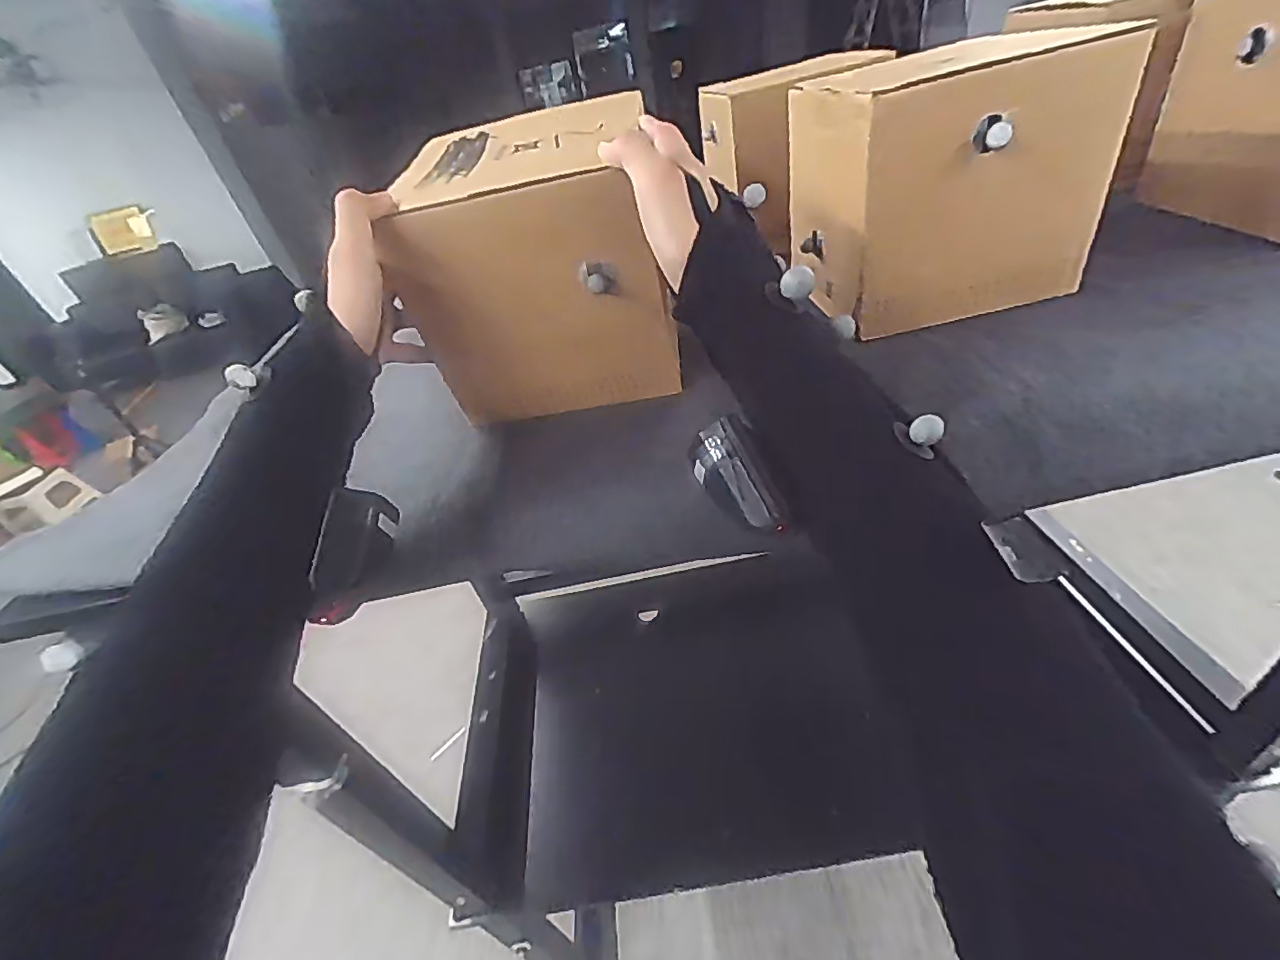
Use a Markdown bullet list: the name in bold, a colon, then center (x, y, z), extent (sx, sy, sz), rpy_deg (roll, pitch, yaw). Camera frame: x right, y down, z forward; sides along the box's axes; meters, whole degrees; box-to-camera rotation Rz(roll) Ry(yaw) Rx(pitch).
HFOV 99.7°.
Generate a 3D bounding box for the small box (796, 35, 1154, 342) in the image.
- **small box**: center (0.236, -0.234, 0.441), extent (0.179, 0.176, 0.168), rpy_deg (-12, 37, 3)

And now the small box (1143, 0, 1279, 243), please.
- **small box**: center (0.554, -0.297, 0.416), extent (0.168, 0.176, 0.179), rpy_deg (-8, 37, 9)

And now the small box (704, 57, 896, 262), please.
- **small box**: center (0.178, -0.377, 0.642), extent (0.168, 0.176, 0.179), rpy_deg (-12, 38, 3)
